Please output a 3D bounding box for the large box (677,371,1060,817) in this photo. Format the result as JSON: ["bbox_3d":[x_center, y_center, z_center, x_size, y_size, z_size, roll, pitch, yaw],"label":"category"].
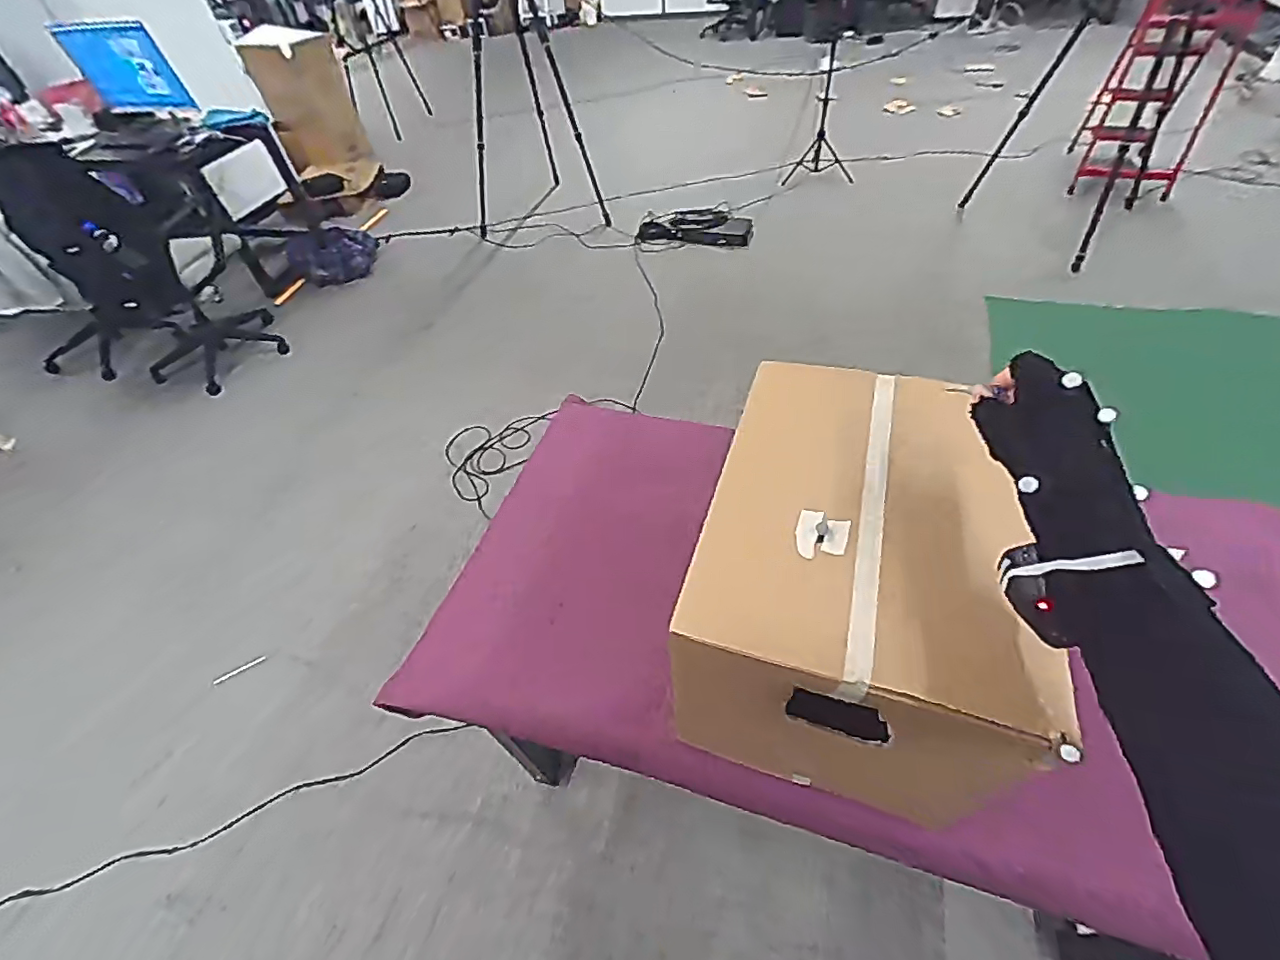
[{"bbox_3d":[0.249,0.126,0.678,0.320,0.320,0.408,12,52,17],"label":"large box"}]
